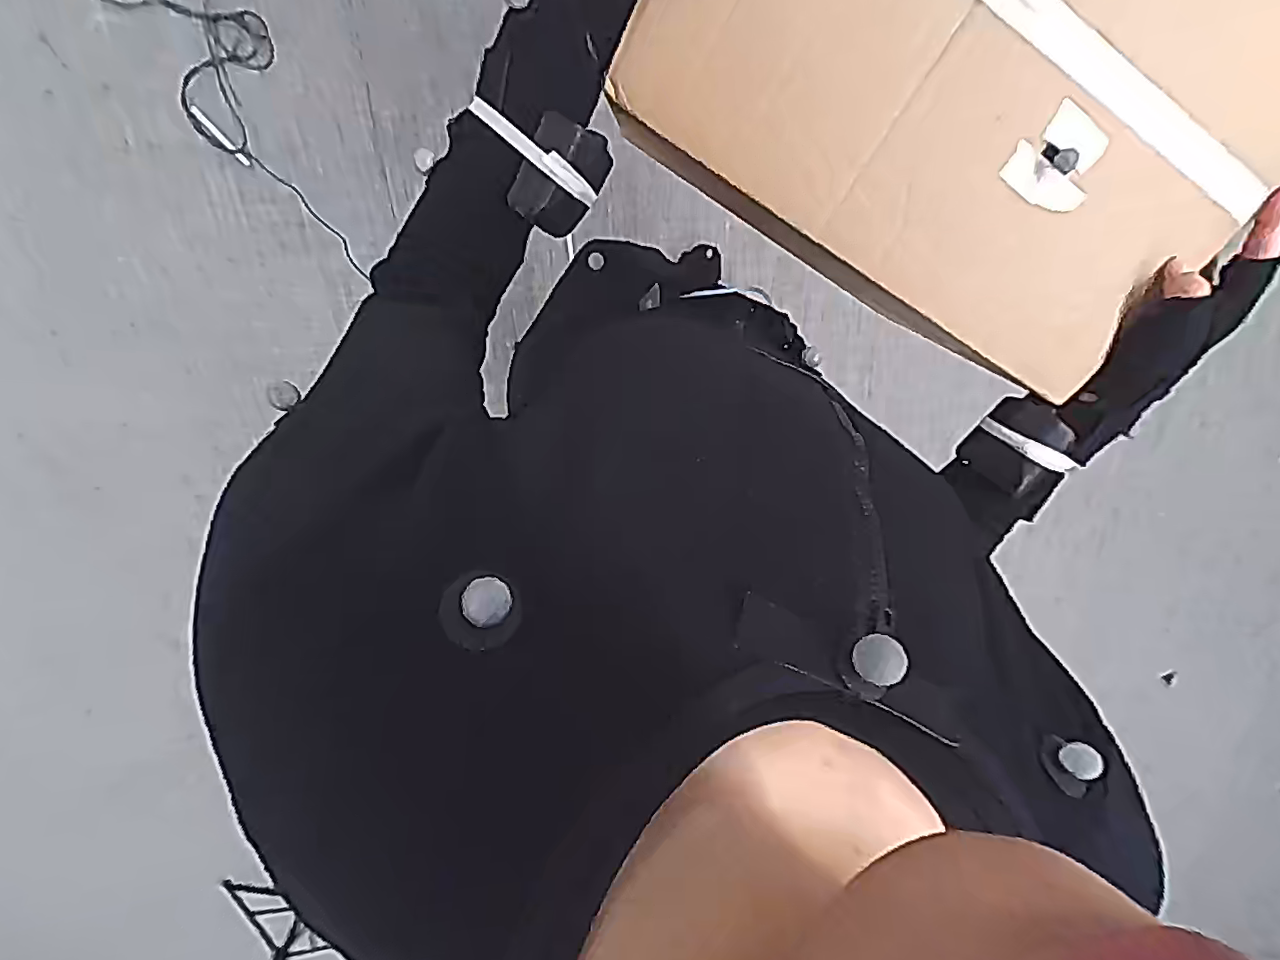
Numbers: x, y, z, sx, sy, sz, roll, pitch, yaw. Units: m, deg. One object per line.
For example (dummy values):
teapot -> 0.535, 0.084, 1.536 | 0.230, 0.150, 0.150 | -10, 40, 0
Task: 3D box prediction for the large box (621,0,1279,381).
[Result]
large box -> 0.229, -0.347, 0.454 | 0.408, 0.320, 0.320 | 27, 116, -14
